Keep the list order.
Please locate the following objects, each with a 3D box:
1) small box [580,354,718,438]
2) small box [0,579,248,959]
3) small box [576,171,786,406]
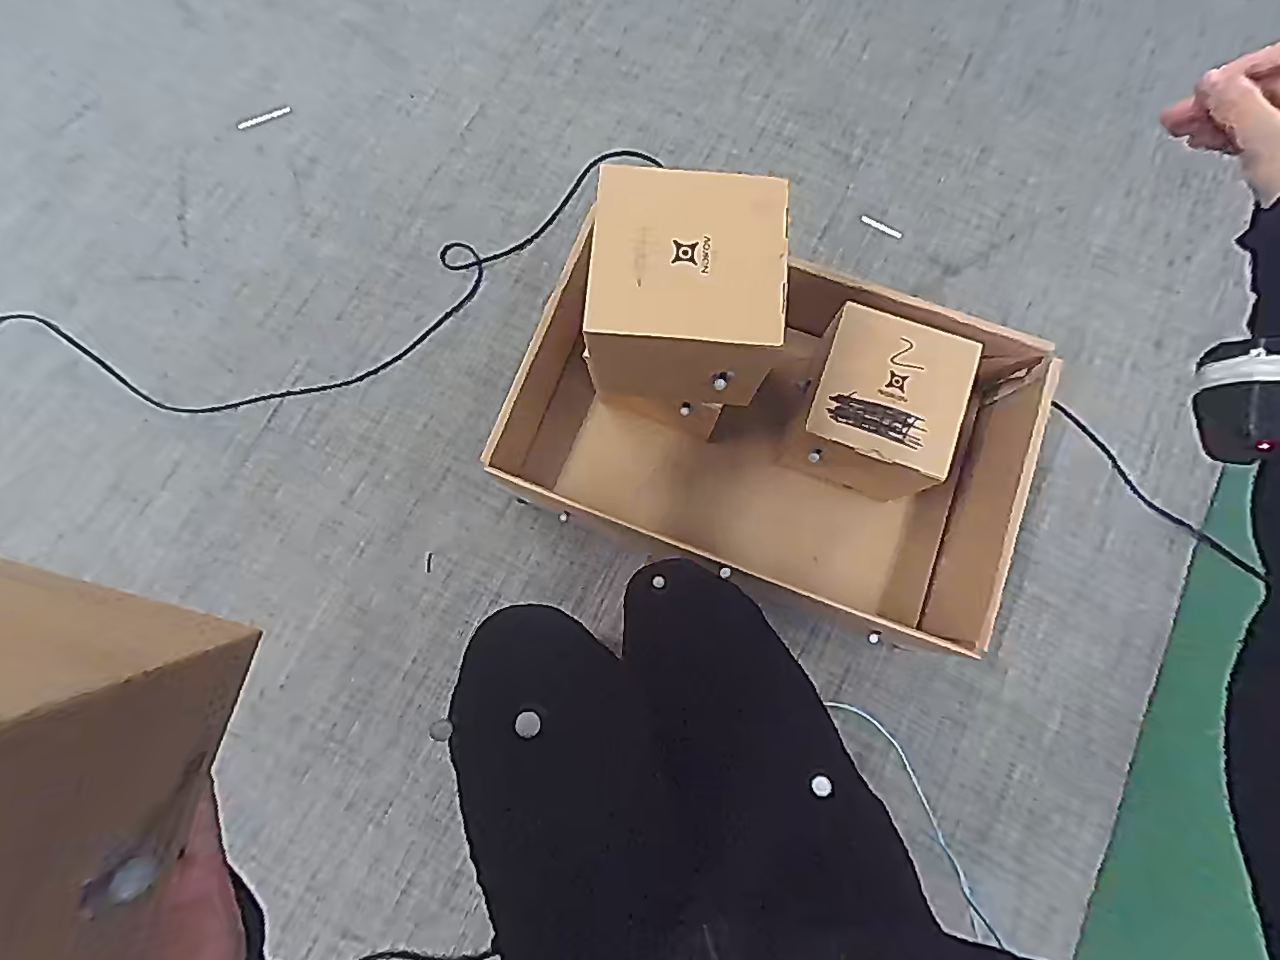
[{"bbox_3d":[0.037,-0.170,0.719,0.179,0.176,0.168,21,81,3],"label":"small box"},{"bbox_3d":[-0.287,0.129,0.176,0.179,0.176,0.168,18,84,-7],"label":"small box"},{"bbox_3d":[0.038,-0.180,0.556,0.179,0.176,0.168,5,81,1],"label":"small box"}]
